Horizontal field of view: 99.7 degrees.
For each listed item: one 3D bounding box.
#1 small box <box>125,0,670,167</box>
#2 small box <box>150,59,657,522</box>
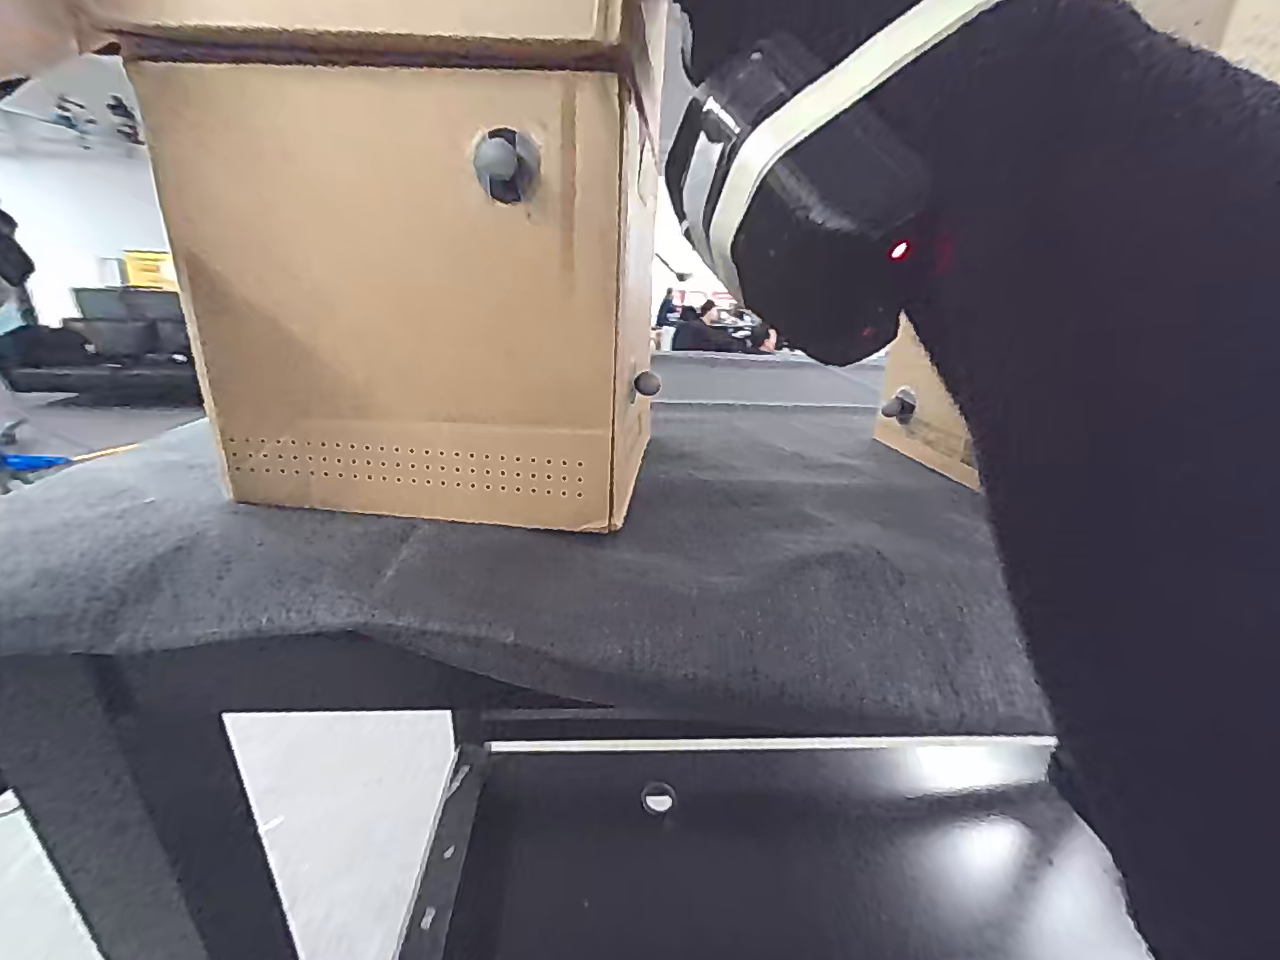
[{"bbox_3d":[-0.078,-0.237,0.220,0.179,0.176,0.168,4,19,4],"label":"small box"},{"bbox_3d":[-0.086,-0.086,0.284,0.179,0.176,0.168,4,19,4],"label":"small box"}]
